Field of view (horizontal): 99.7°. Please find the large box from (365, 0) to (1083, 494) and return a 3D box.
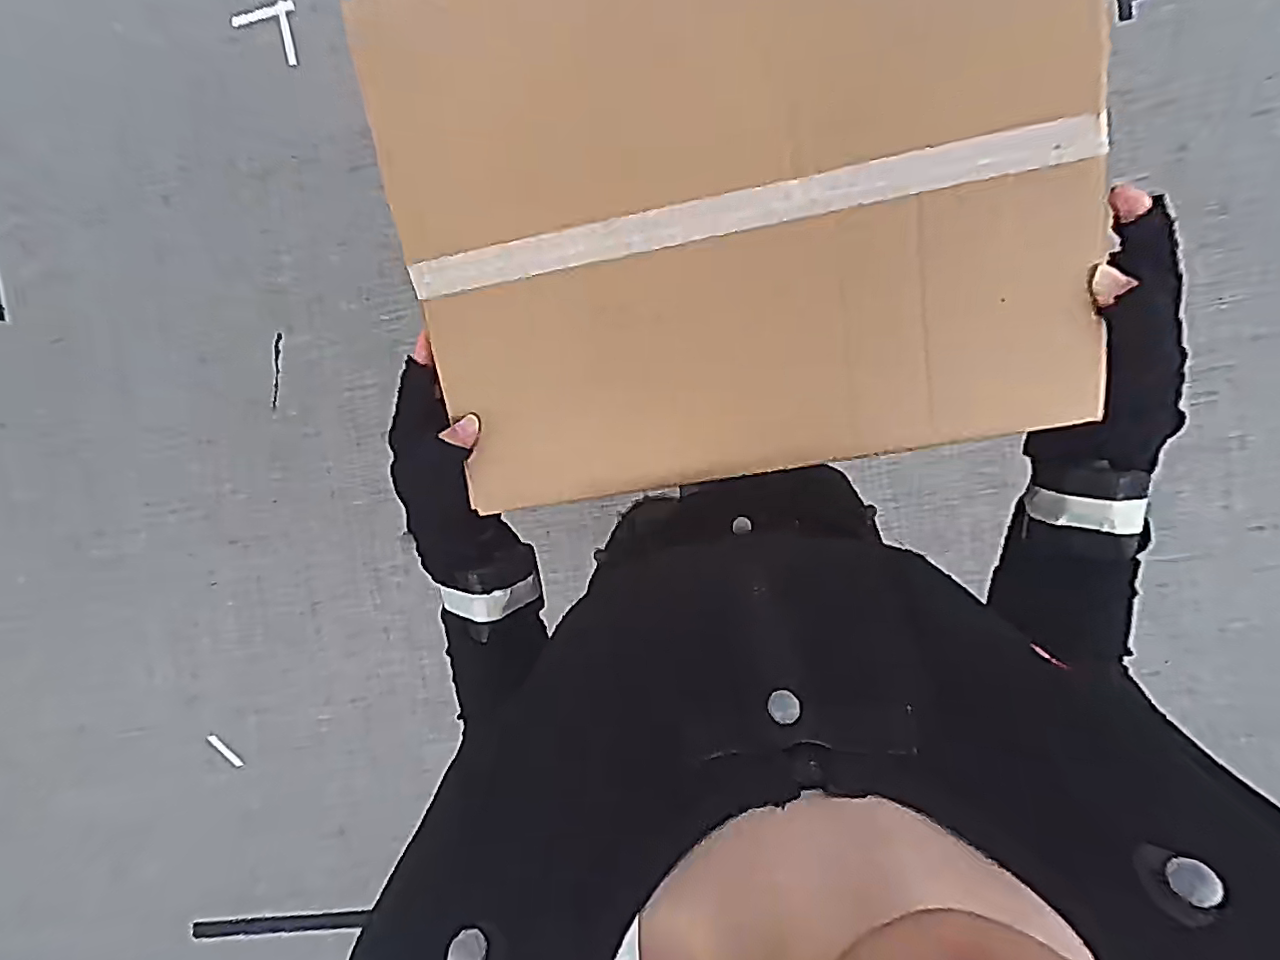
[{"bbox_3d":[0.065,-0.202,0.475,0.408,0.320,0.320,-9,104,7],"label":"large box"}]
